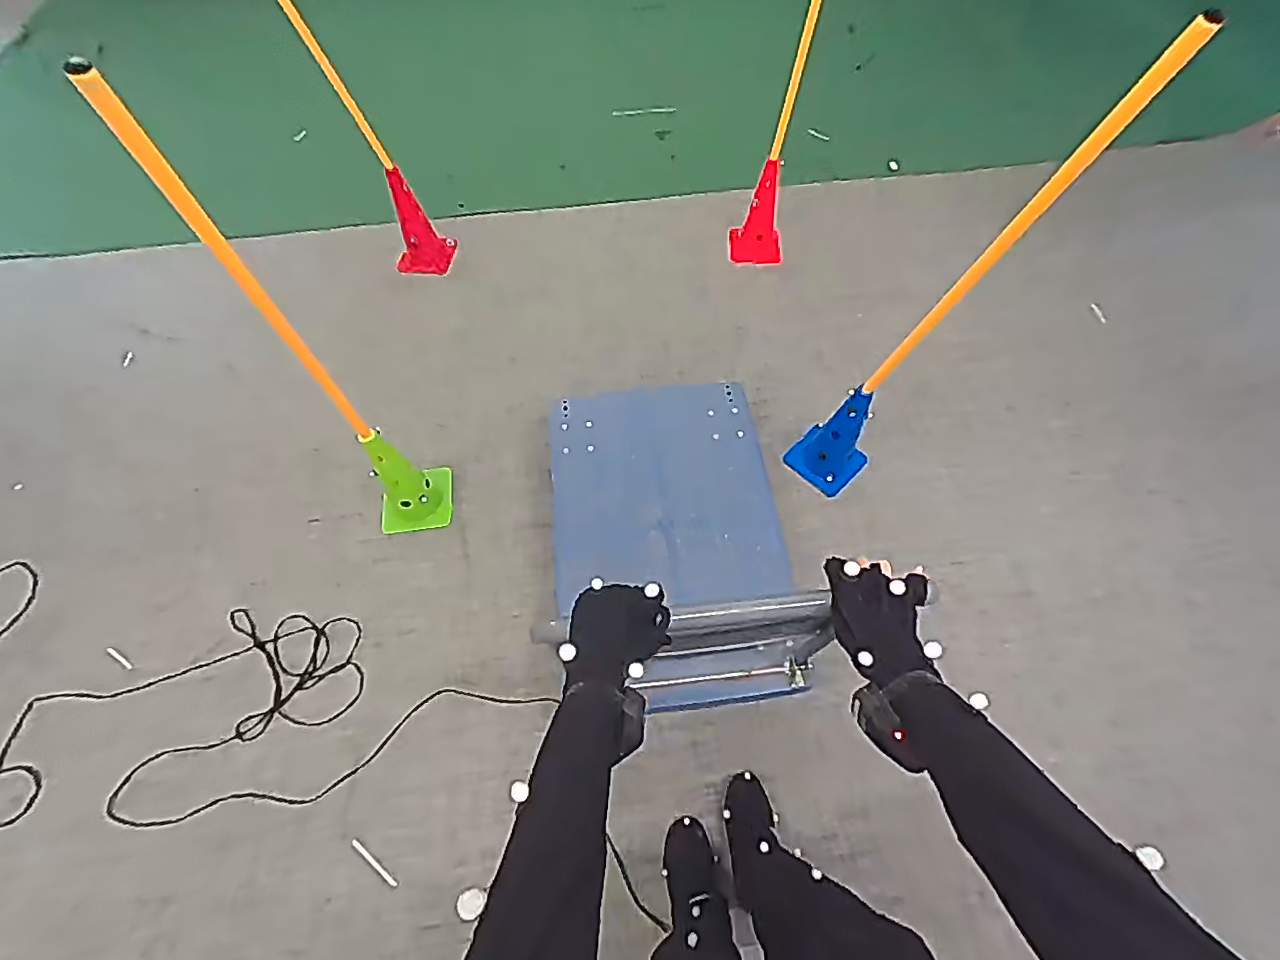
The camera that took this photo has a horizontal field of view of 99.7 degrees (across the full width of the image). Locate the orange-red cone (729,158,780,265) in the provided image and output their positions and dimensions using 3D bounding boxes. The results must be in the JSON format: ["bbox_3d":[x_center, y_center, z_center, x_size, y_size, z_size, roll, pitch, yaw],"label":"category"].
[{"bbox_3d":[0.450,-1.000,1.992,0.198,0.360,0.199,3,62,2],"label":"orange-red cone"}]
